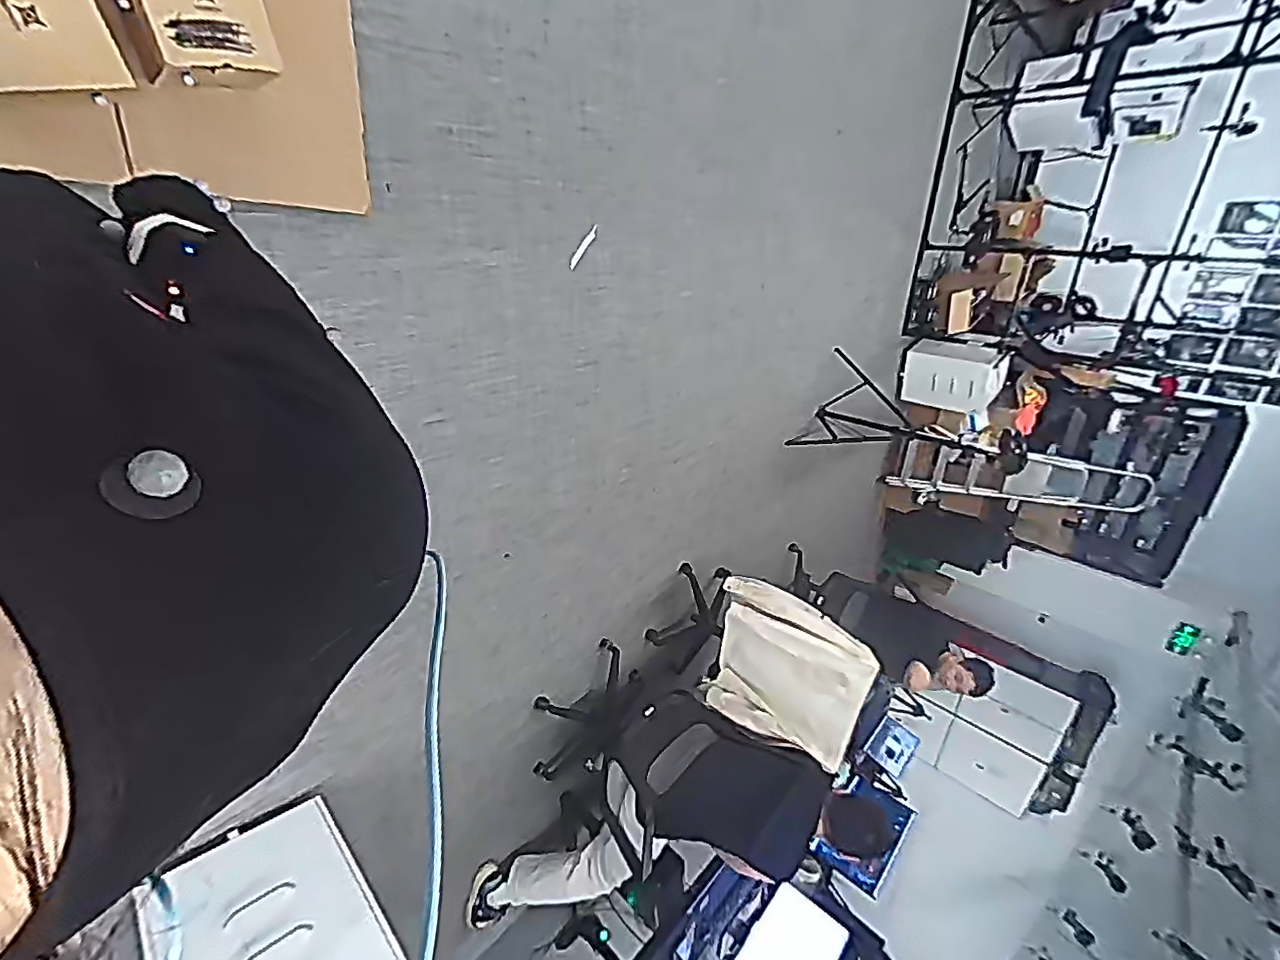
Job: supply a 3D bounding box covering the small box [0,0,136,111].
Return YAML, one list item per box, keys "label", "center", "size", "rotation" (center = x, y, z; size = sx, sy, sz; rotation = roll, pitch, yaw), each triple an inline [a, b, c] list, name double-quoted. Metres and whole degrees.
- label: "small box"
  center: [-0.876, -0.632, 0.762]
  size: [0.179, 0.176, 0.168]
  rotation: [-34, 130, -36]
